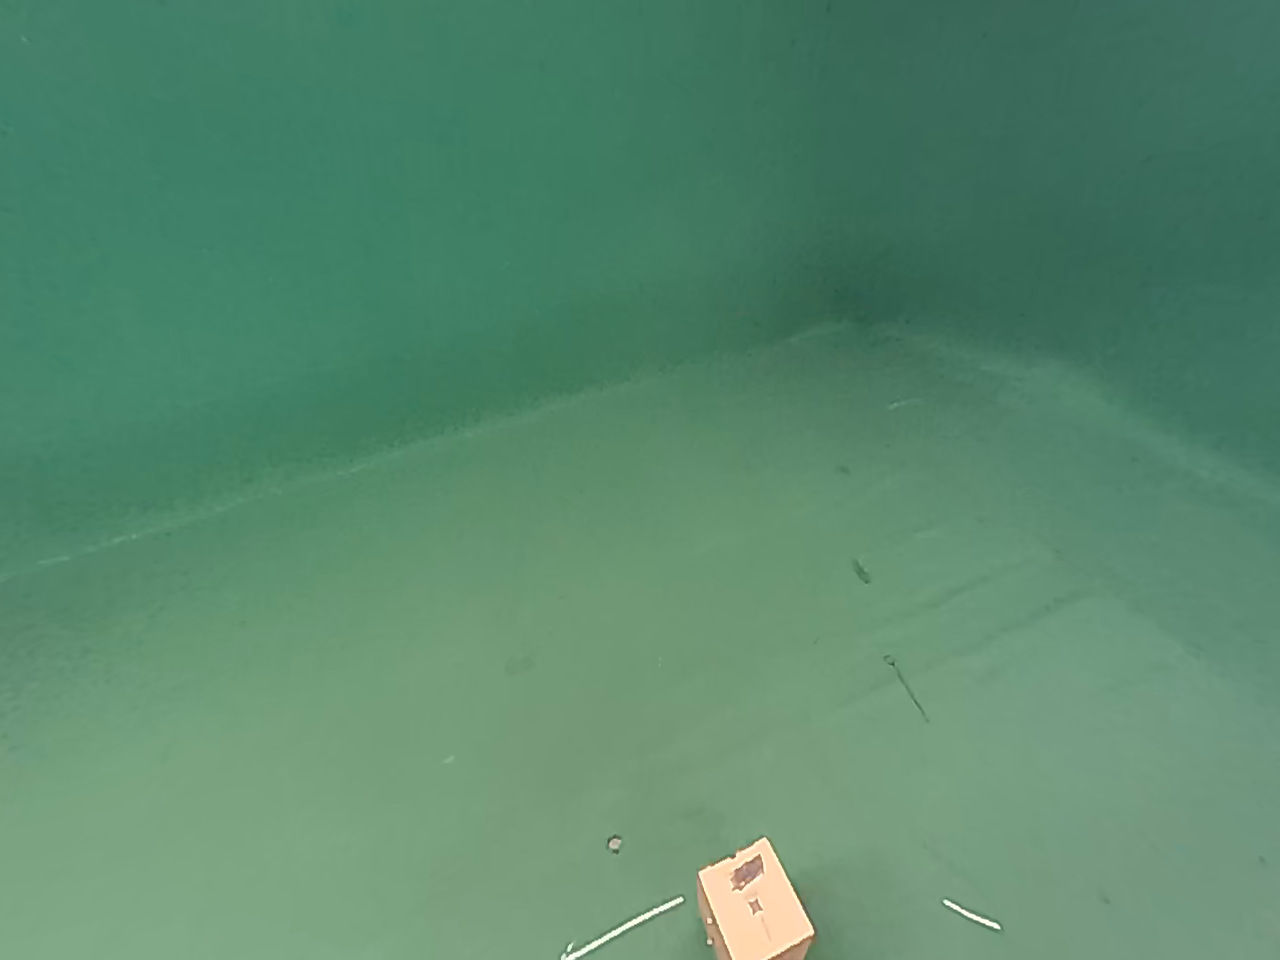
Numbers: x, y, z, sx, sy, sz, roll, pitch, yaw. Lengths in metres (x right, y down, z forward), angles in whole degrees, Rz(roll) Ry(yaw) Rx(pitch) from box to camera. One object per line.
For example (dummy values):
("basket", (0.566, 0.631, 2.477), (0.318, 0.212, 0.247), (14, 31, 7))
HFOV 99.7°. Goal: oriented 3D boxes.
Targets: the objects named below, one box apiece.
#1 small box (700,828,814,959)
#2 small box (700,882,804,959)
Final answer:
("small box", (0.232, 0.873, 1.120), (0.168, 0.176, 0.179), (-18, 42, -13))
("small box", (0.244, 0.999, 1.225), (0.168, 0.176, 0.179), (-18, 41, -13))
